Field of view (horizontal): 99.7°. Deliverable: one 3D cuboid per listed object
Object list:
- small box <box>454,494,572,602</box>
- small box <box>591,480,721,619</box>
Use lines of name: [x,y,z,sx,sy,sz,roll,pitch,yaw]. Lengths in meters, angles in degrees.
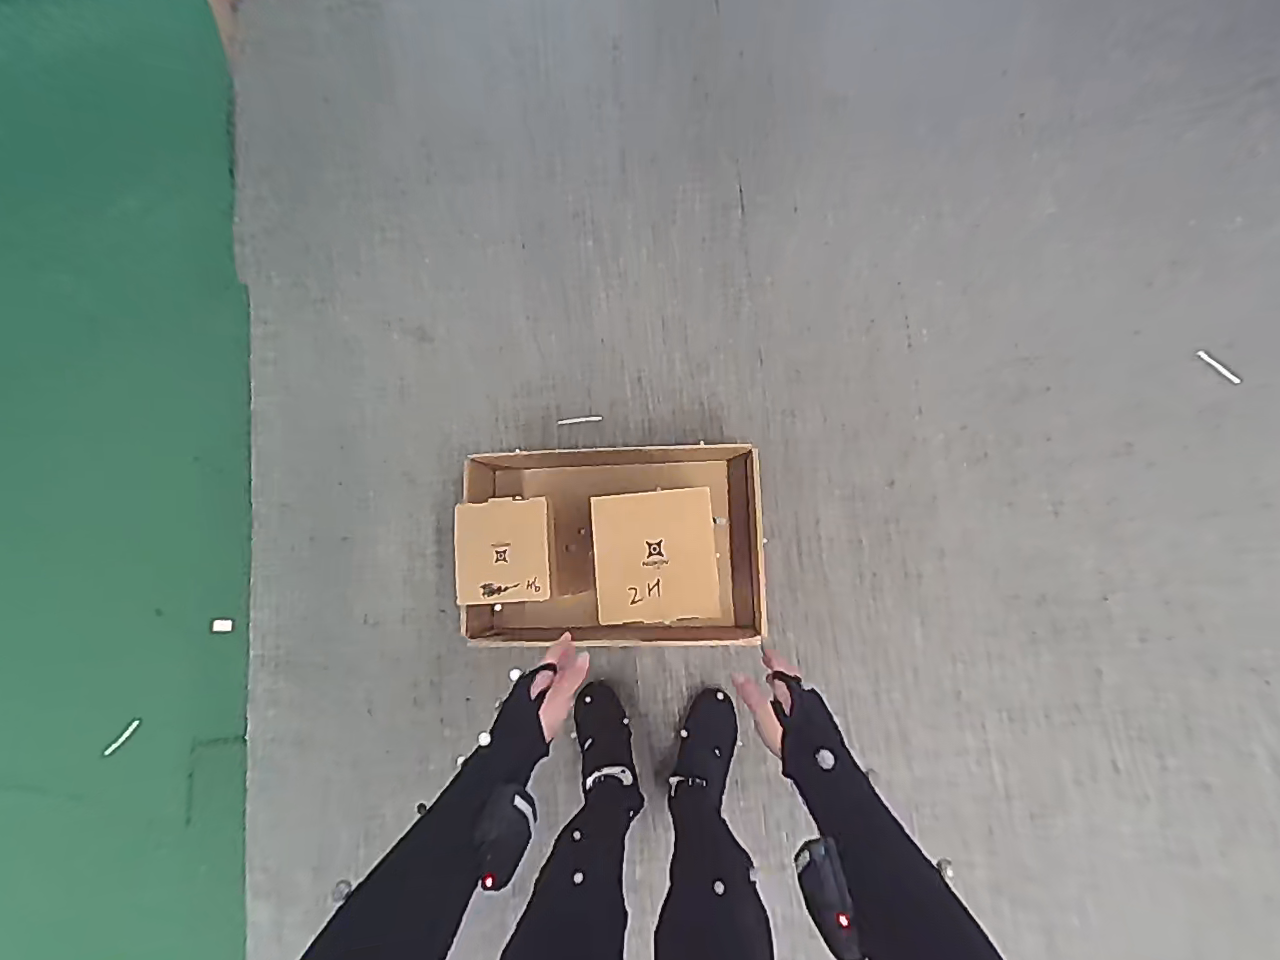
small box: [-0.225,0.128,0.990,0.168,0.176,0.179,-5,80,7]
small box: [0.028,0.104,0.796,0.168,0.176,0.179,-6,82,7]
